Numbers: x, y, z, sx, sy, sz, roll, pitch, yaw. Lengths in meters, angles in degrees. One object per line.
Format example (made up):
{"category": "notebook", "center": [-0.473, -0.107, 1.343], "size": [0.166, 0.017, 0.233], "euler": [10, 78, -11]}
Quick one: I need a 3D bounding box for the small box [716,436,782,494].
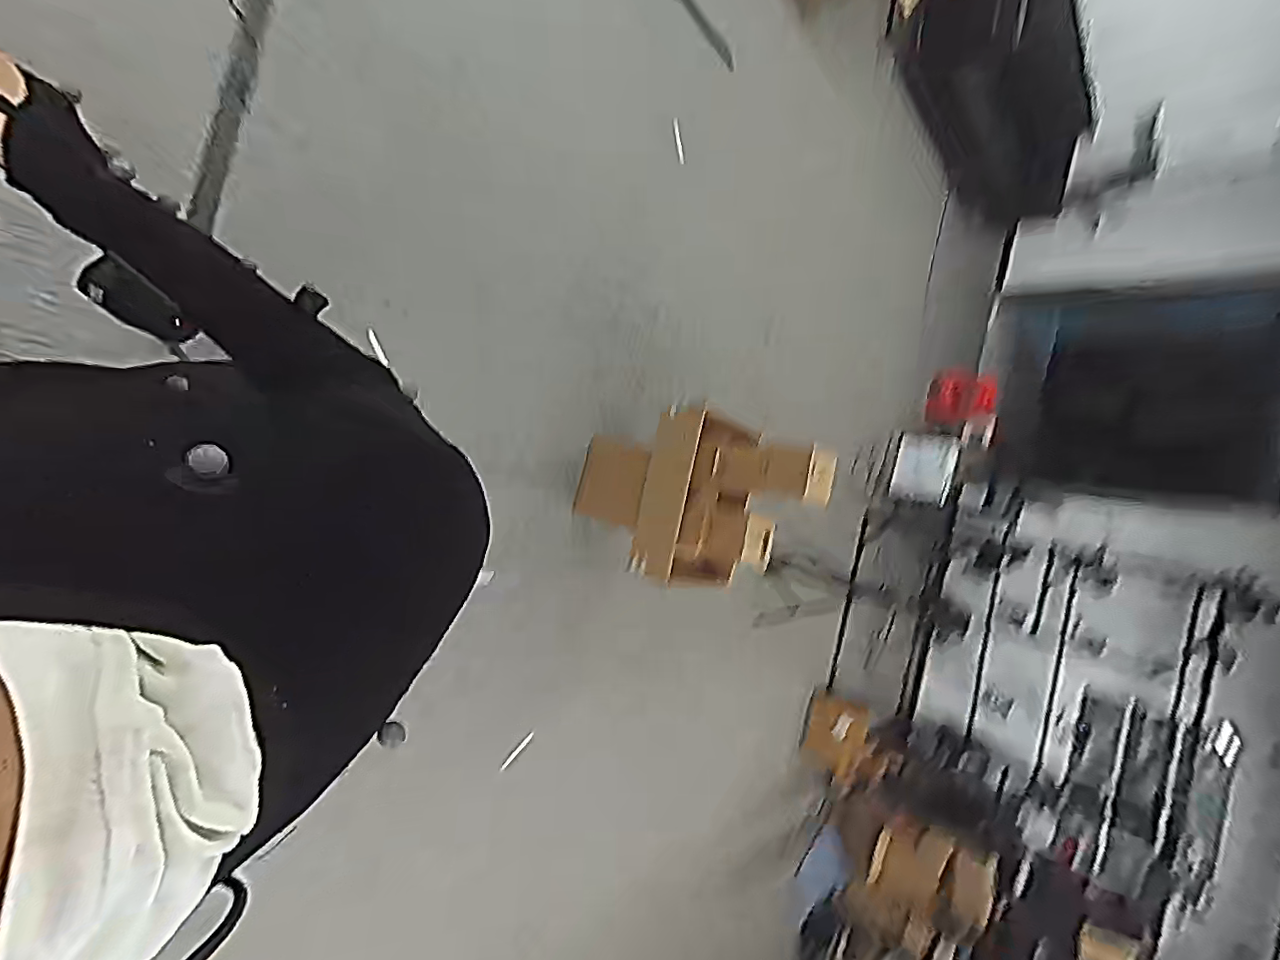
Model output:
{"category": "small box", "center": [0.388, -0.054, 1.848], "size": [0.179, 0.176, 0.168], "euler": [10, 90, -46]}

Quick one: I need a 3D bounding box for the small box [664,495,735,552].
{"category": "small box", "center": [0.214, 0.154, 1.948], "size": [0.179, 0.176, 0.168], "euler": [17, 84, -46]}

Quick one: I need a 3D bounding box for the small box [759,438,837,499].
{"category": "small box", "center": [0.507, -0.039, 1.735], "size": [0.179, 0.176, 0.168], "euler": [10, 90, -47]}
